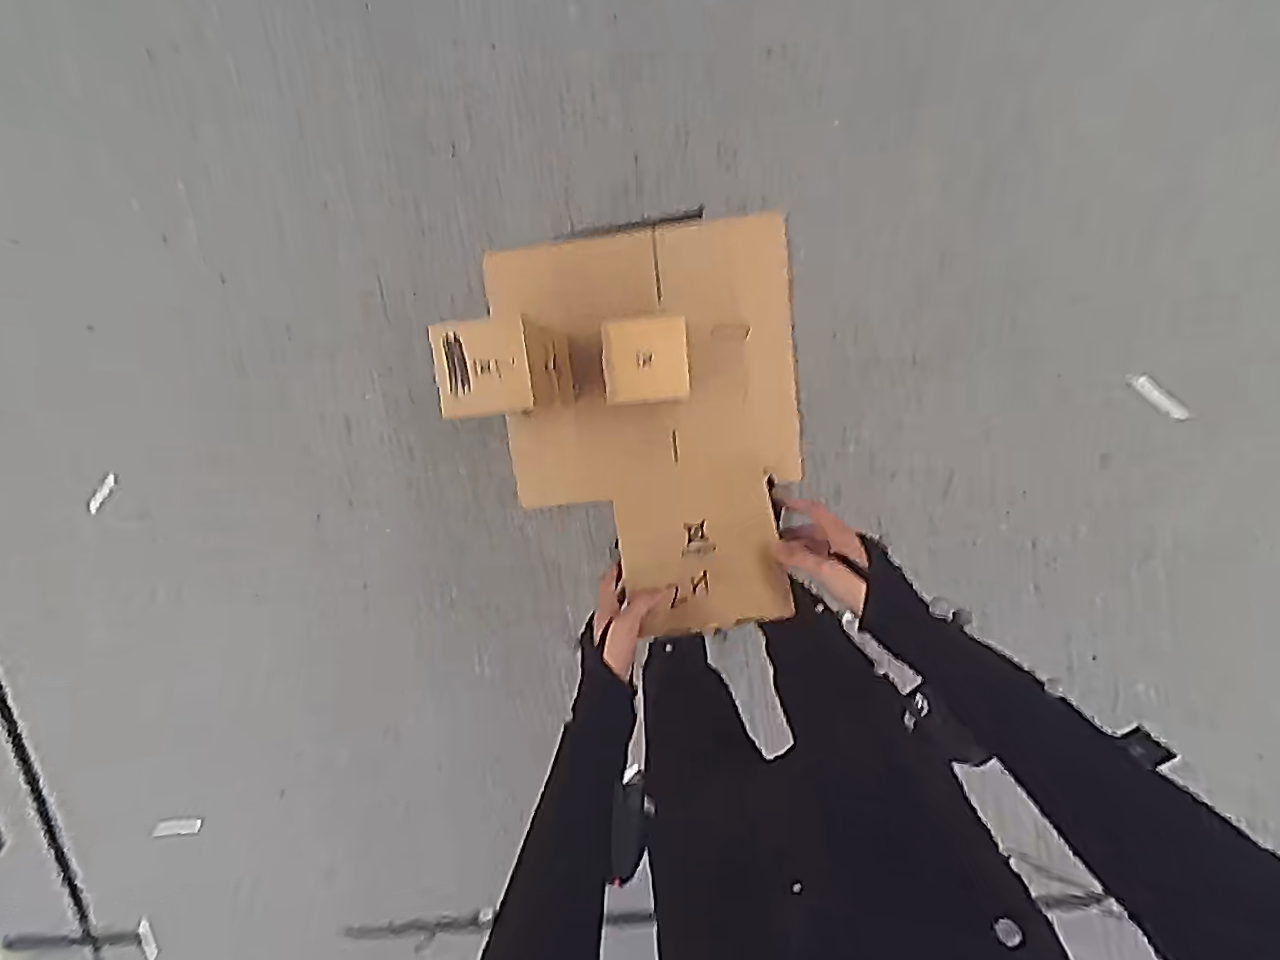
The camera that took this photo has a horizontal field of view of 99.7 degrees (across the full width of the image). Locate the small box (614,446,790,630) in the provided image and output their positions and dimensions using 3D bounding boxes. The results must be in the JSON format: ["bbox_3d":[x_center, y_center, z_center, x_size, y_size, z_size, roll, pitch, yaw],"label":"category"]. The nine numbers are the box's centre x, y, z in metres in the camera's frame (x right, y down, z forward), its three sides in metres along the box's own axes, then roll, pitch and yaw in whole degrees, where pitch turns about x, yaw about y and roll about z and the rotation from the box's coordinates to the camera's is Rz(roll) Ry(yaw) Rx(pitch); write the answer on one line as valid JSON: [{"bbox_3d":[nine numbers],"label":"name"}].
[{"bbox_3d":[0.074,0.080,0.643,0.168,0.176,0.179,-11,73,9],"label":"small box"}]

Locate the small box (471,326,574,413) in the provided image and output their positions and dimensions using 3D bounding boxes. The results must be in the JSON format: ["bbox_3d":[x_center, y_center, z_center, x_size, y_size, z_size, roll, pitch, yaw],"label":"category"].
[{"bbox_3d":[-0.250,-0.244,1.202,0.179,0.176,0.168,-5,100,7],"label":"small box"}]

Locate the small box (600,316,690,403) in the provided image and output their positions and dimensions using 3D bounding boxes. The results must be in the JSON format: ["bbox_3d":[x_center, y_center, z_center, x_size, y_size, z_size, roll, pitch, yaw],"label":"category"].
[{"bbox_3d":[0.015,-0.261,1.180,0.179,0.176,0.168,-4,100,5],"label":"small box"}]
